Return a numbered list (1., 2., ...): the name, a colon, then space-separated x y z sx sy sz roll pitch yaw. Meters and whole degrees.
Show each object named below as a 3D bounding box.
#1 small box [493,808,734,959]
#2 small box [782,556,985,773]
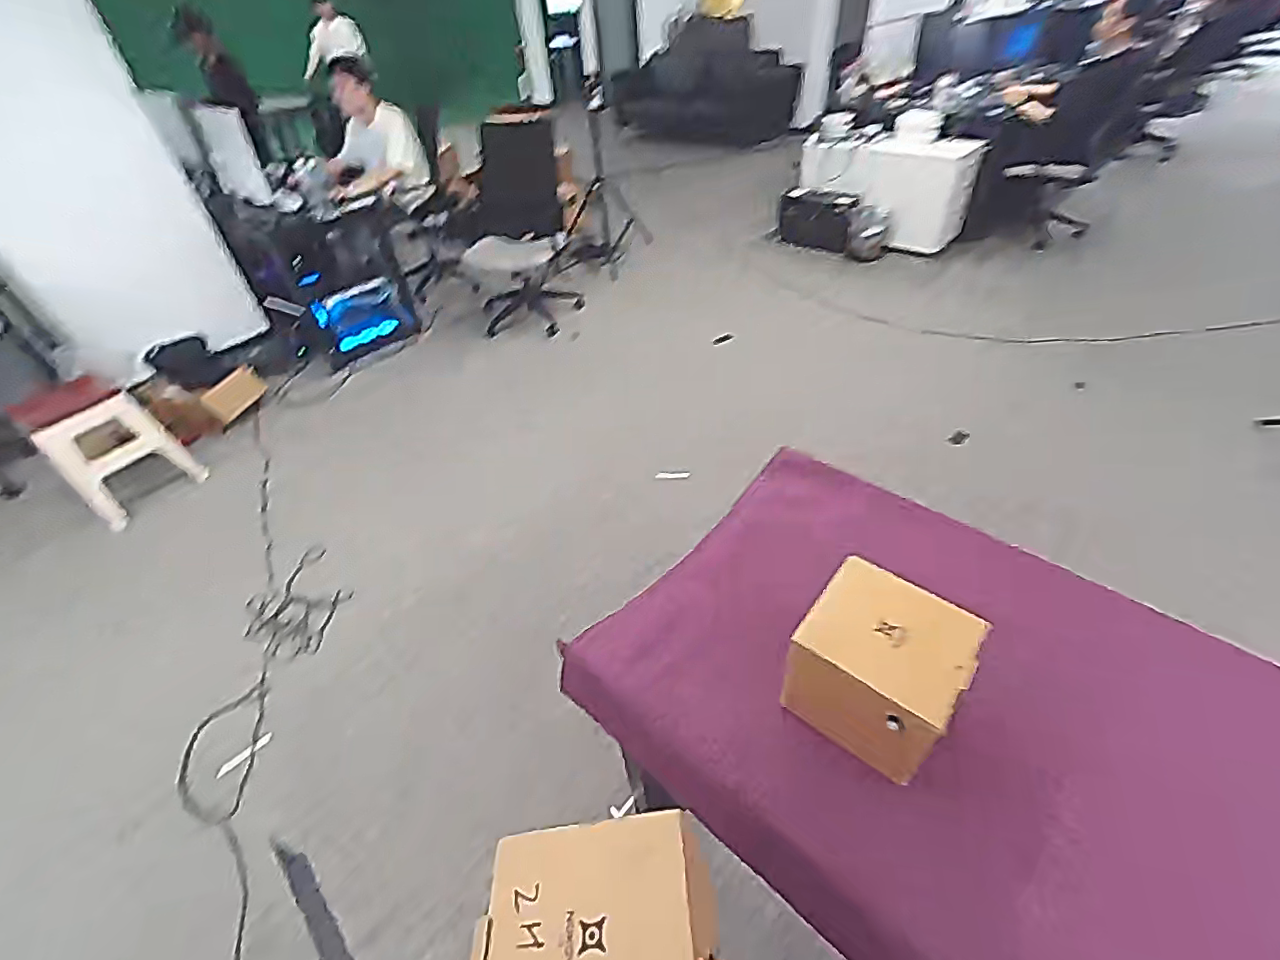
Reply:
1. small box: -0.011 0.415 0.463 0.179 0.176 0.168 -13 33 8
2. small box: 0.304 0.239 0.705 0.179 0.176 0.168 27 51 30
